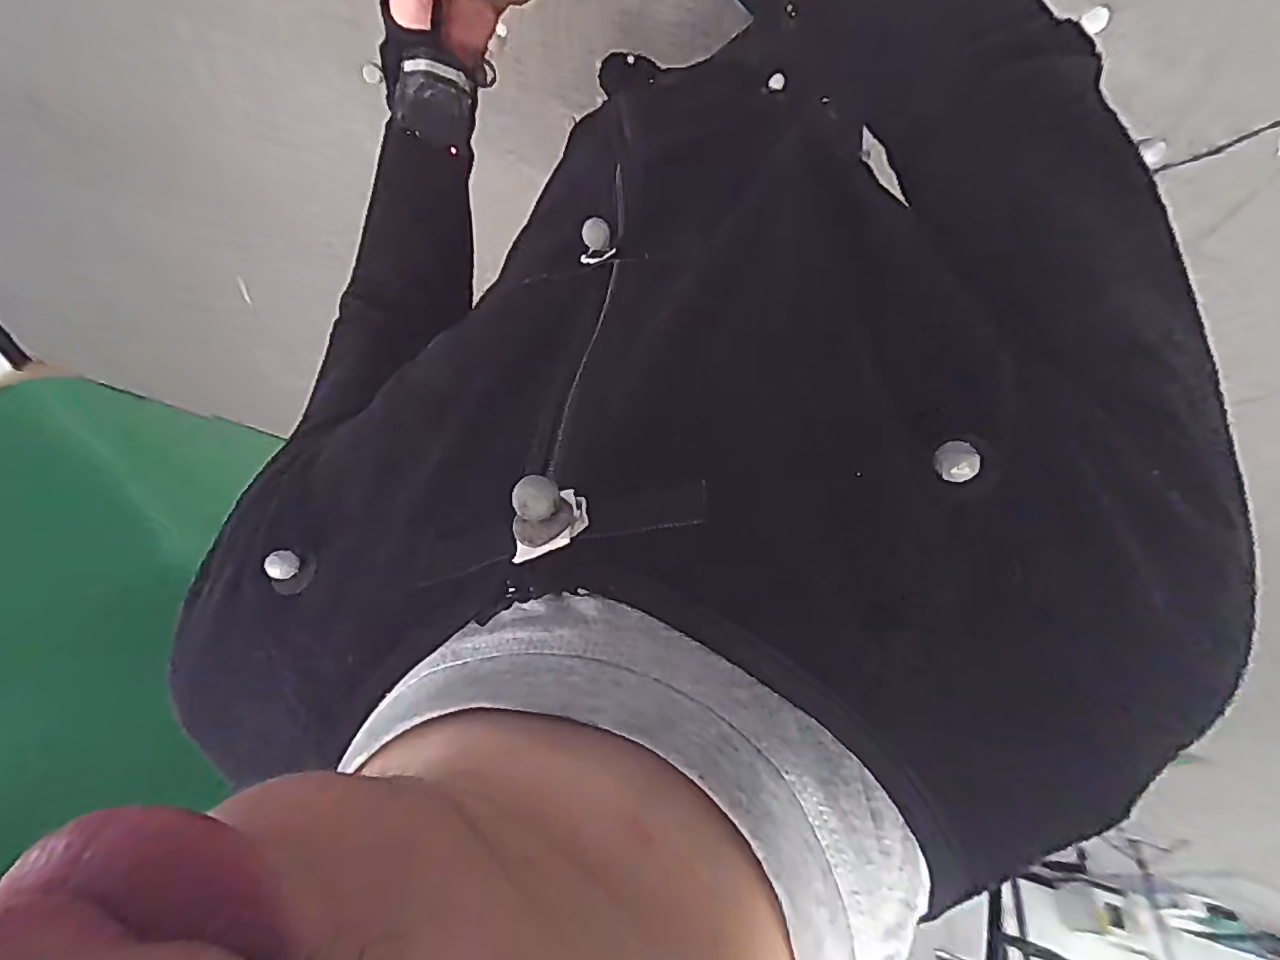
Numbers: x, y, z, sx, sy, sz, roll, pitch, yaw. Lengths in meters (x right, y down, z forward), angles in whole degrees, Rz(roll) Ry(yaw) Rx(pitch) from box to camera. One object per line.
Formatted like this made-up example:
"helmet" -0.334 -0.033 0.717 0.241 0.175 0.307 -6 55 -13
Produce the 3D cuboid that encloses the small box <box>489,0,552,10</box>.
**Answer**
"small box" -0.106 -0.471 0.369 0.168 0.176 0.179 -21 117 32
